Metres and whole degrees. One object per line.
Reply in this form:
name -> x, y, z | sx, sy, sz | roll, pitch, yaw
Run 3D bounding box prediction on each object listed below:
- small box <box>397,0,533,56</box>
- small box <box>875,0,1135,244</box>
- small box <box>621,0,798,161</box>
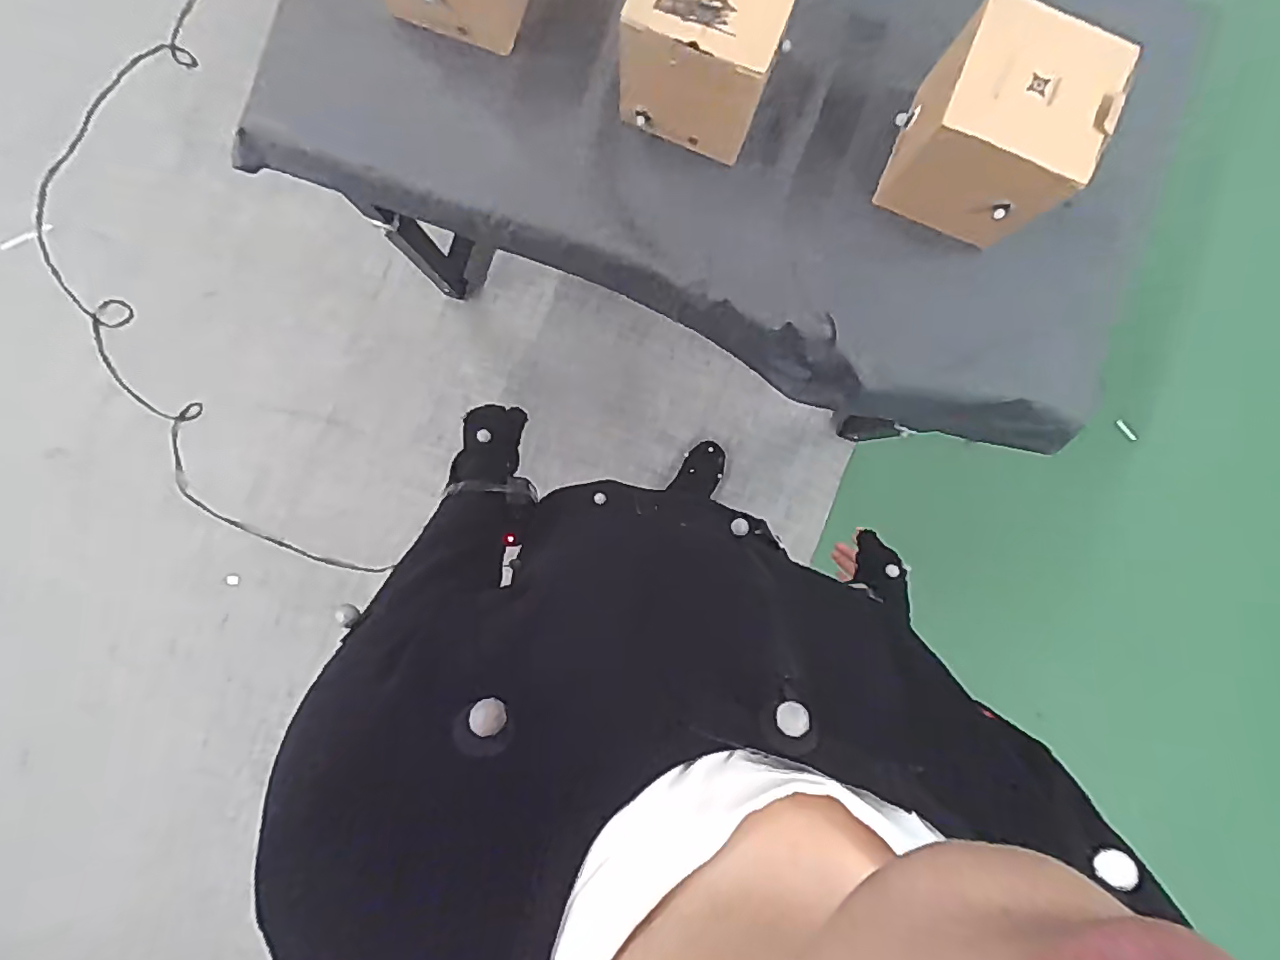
small box -> -0.217, -0.668, 0.647 | 0.168, 0.176, 0.179 | 18, 91, -2
small box -> 0.428, -0.420, 0.664 | 0.179, 0.176, 0.168 | 21, 89, 0
small box -> 0.086, -0.533, 0.654 | 0.168, 0.176, 0.179 | 22, 89, -1
